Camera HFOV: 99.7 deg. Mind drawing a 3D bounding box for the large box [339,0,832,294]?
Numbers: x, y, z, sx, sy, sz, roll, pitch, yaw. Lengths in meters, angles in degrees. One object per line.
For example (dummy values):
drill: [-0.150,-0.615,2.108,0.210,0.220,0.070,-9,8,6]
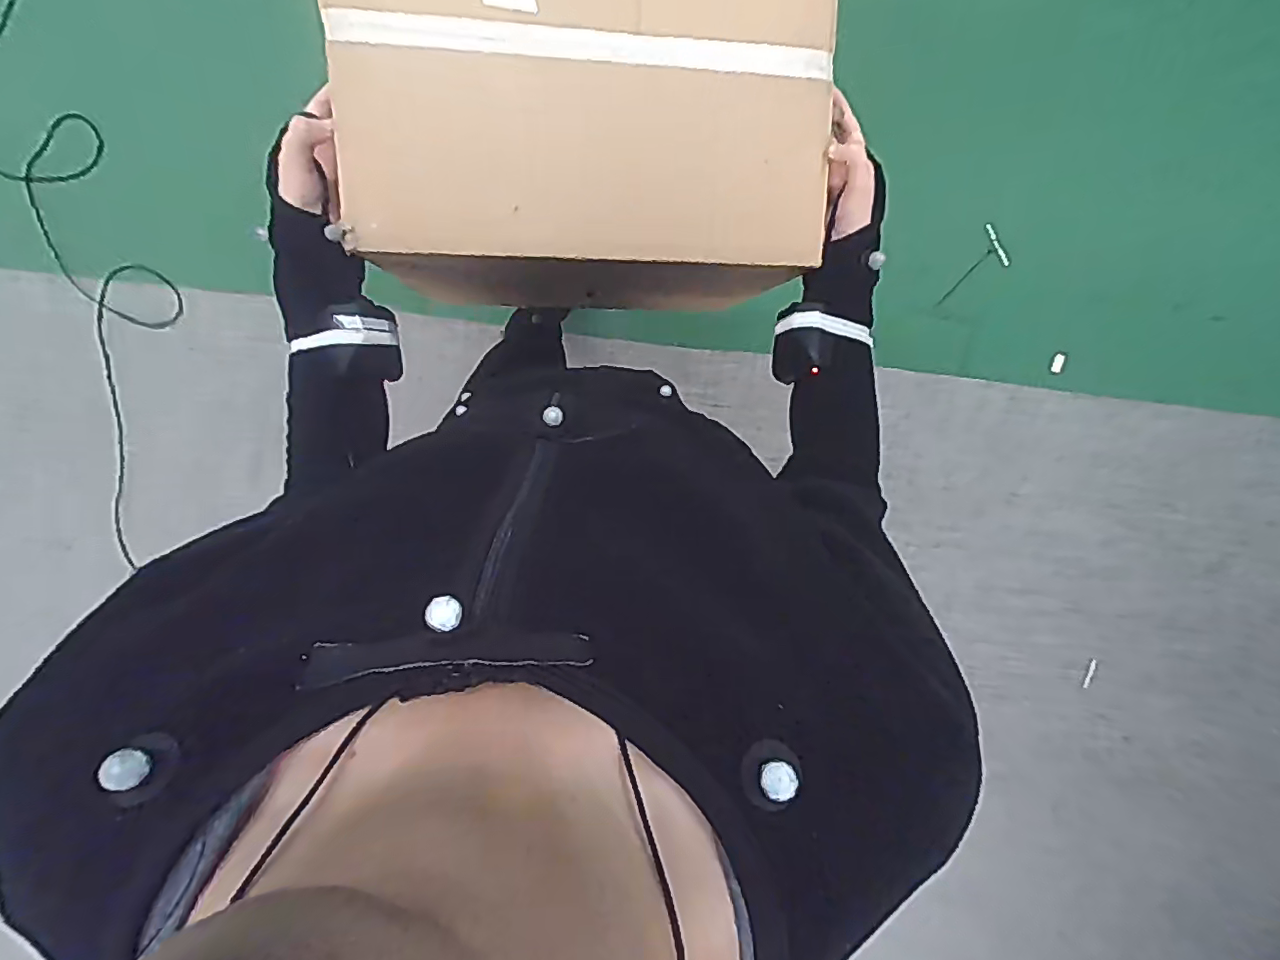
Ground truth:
large box: [-0.051,-0.381,0.586,0.408,0.320,0.320,-1,101,-7]
